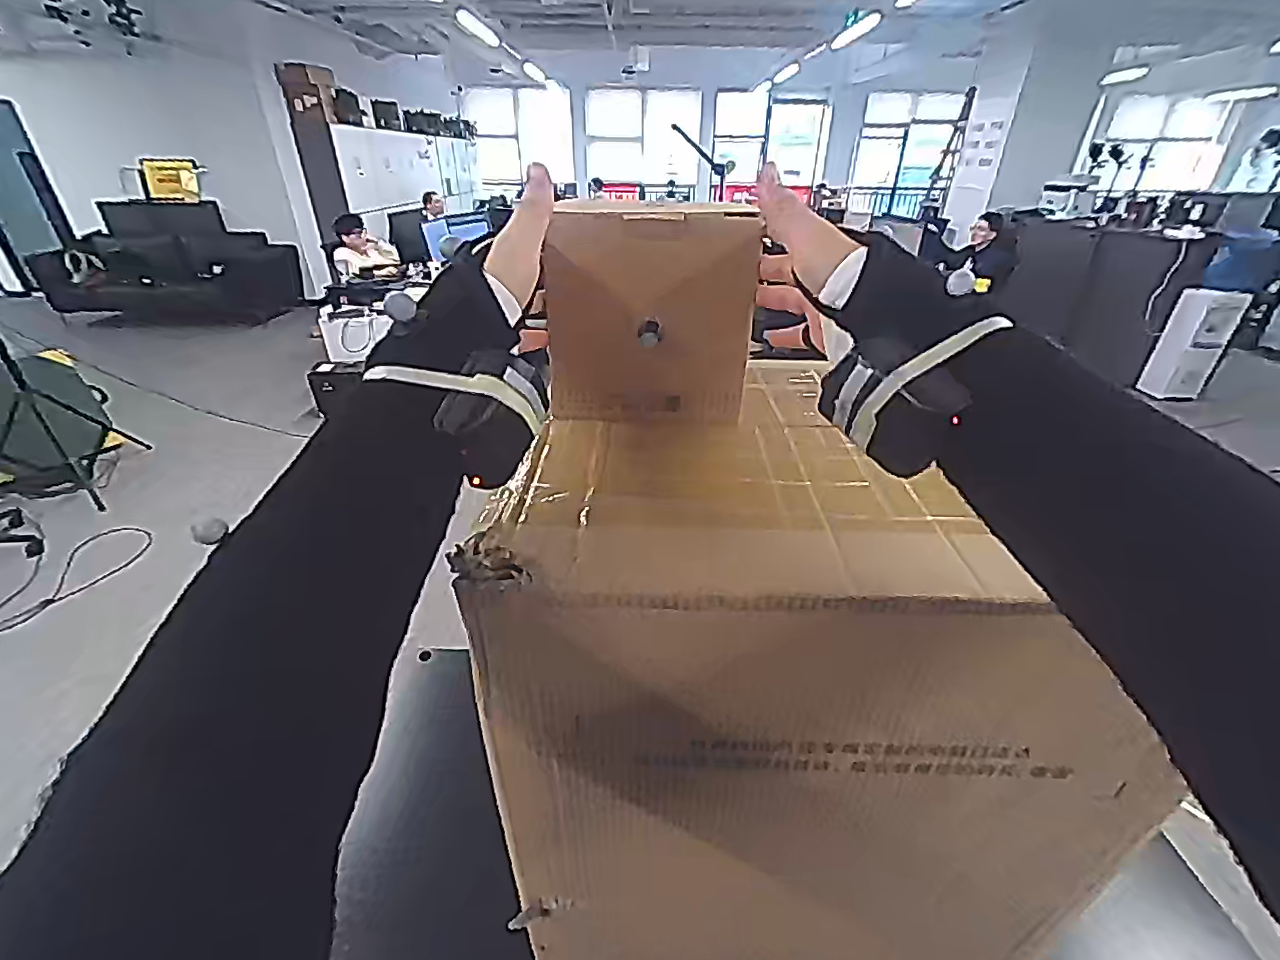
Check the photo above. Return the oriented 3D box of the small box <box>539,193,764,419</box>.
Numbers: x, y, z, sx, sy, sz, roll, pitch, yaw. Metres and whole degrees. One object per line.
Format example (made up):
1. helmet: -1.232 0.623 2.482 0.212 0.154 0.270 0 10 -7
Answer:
1. small box: 0.011 -0.164 0.496 0.168 0.176 0.179 2 30 0
